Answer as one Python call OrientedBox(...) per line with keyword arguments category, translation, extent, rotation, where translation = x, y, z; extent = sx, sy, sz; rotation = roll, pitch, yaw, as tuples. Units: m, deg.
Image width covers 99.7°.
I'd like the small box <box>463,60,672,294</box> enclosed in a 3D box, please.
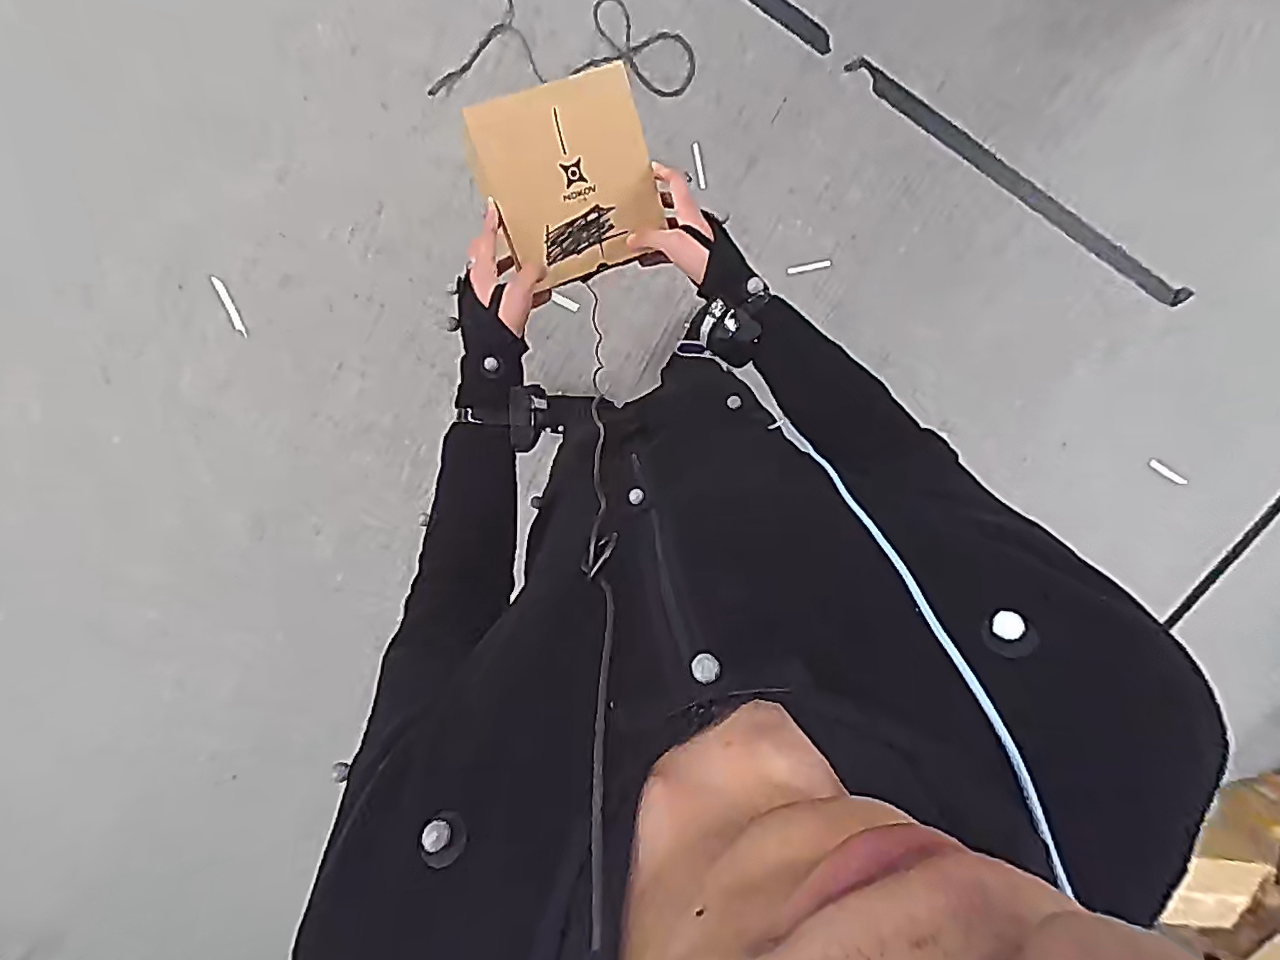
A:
OrientedBox(category="small box", translation=(-0.084, -0.323, 0.610), extent=(0.168, 0.176, 0.179), rotation=(-22, 113, -8))
